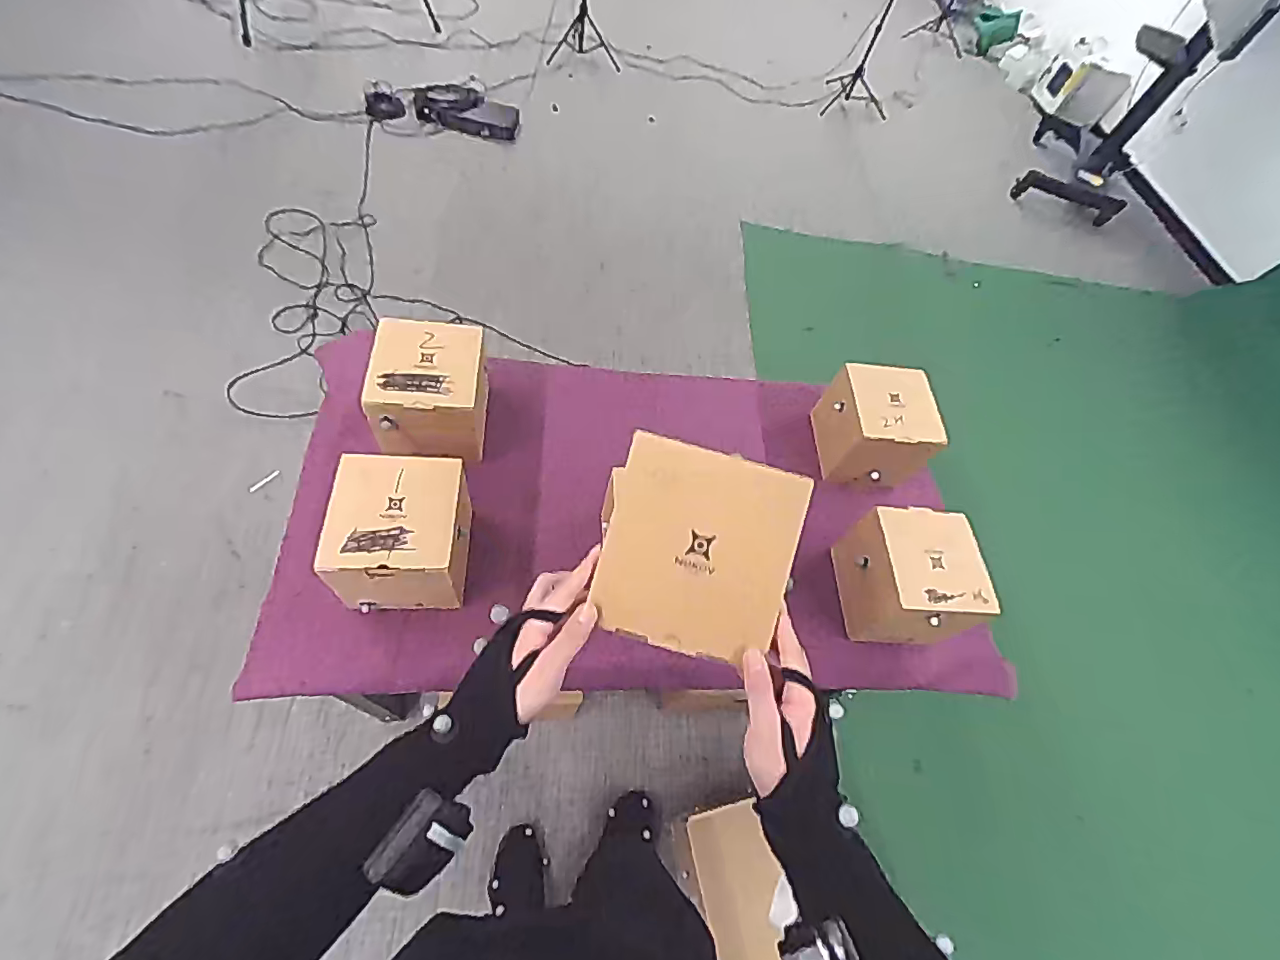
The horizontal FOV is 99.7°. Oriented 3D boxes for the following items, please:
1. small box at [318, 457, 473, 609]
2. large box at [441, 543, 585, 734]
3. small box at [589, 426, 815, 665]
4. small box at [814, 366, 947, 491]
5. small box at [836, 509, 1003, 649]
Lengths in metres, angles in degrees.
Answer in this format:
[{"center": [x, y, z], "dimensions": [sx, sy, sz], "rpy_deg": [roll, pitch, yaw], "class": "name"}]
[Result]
[{"center": [-0.345, 0.086, 0.803], "dimensions": [0.168, 0.176, 0.179], "rpy_deg": [2, 58, -11], "class": "small box"}, {"center": [-0.315, 0.410, 1.400], "dimensions": [0.320, 0.320, 0.408], "rpy_deg": [2, 58, -11], "class": "large box"}, {"center": [0.053, 0.060, 0.551], "dimensions": [0.168, 0.176, 0.179], "rpy_deg": [16, 88, 0], "class": "small box"}, {"center": [0.464, -0.099, 1.076], "dimensions": [0.168, 0.176, 0.179], "rpy_deg": [4, 60, -6], "class": "small box"}, {"center": [0.452, 0.170, 0.912], "dimensions": [0.168, 0.176, 0.179], "rpy_deg": [4, 56, -7], "class": "small box"}]
